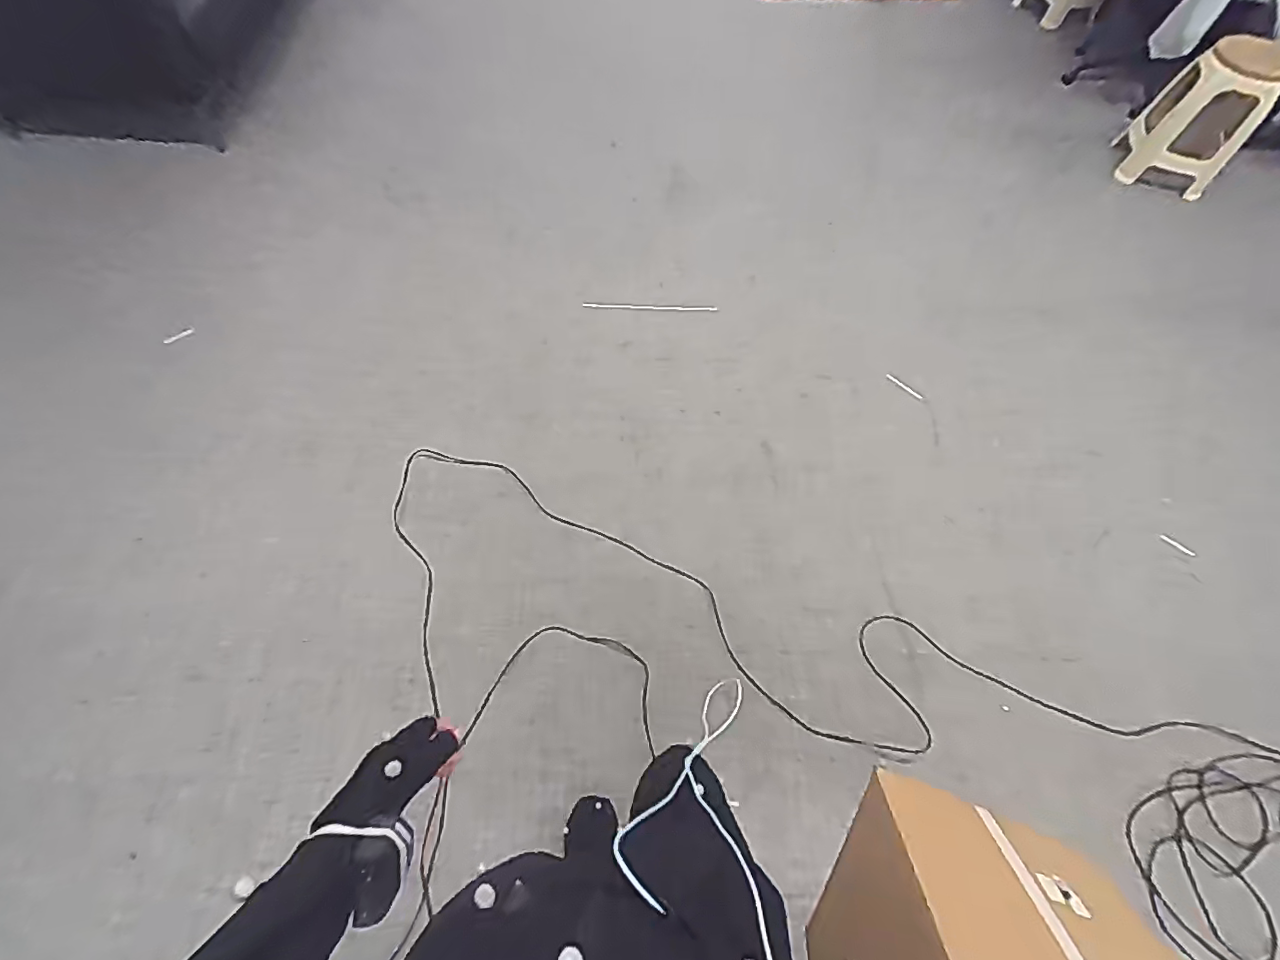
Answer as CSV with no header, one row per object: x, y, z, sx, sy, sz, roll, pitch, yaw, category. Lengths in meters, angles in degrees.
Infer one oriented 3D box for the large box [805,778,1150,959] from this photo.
0.418,0.669,0.648,0.320,0.408,0.320,21,97,9,large box
